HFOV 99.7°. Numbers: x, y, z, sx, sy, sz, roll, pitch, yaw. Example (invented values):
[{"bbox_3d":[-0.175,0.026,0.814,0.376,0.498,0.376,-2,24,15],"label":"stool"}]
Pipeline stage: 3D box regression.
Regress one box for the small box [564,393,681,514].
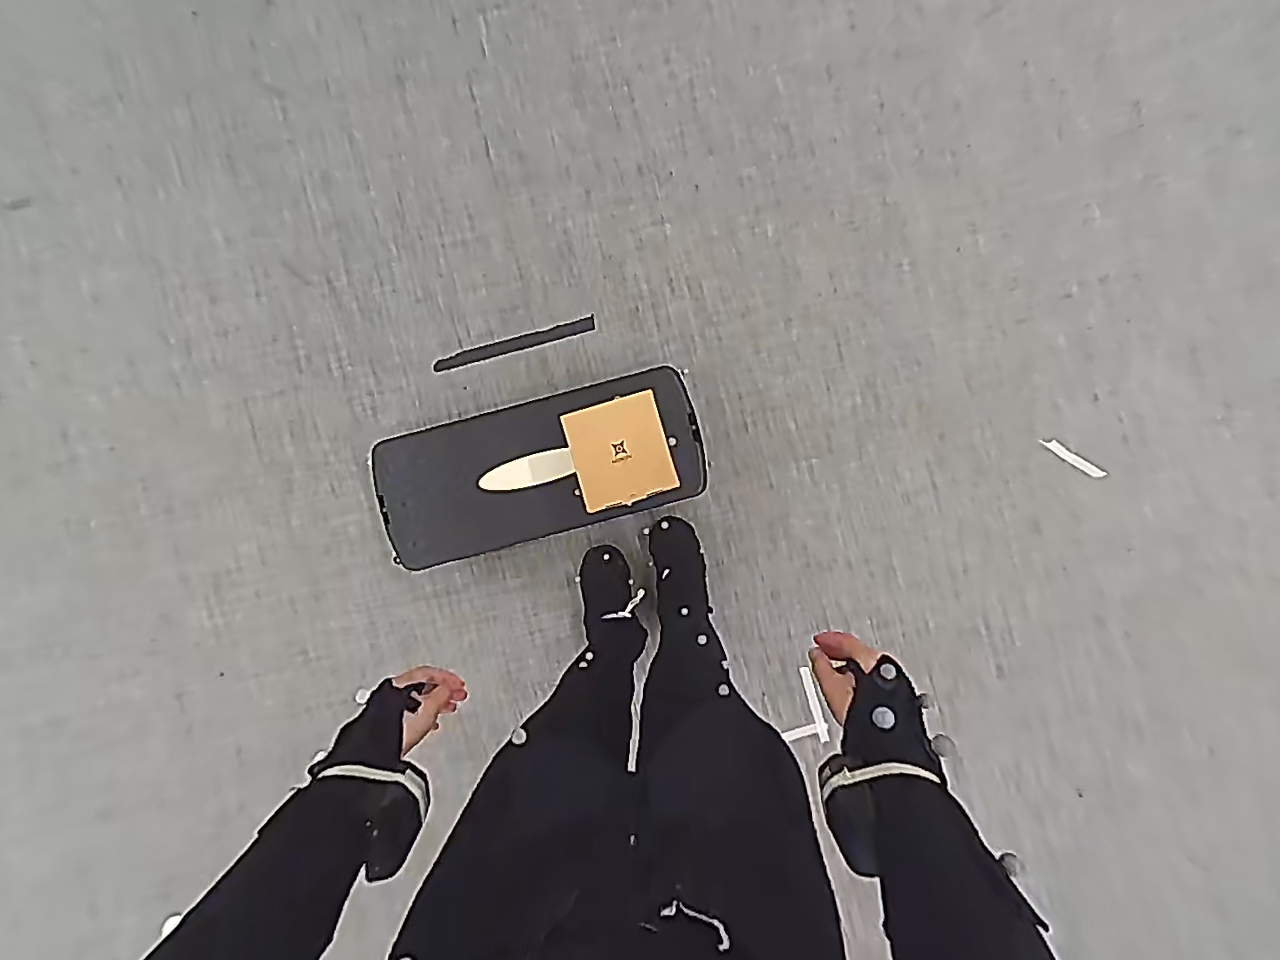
[{"bbox_3d":[-0.033,-0.046,1.003,0.168,0.176,0.179,-17,91,-1],"label":"small box"}]
